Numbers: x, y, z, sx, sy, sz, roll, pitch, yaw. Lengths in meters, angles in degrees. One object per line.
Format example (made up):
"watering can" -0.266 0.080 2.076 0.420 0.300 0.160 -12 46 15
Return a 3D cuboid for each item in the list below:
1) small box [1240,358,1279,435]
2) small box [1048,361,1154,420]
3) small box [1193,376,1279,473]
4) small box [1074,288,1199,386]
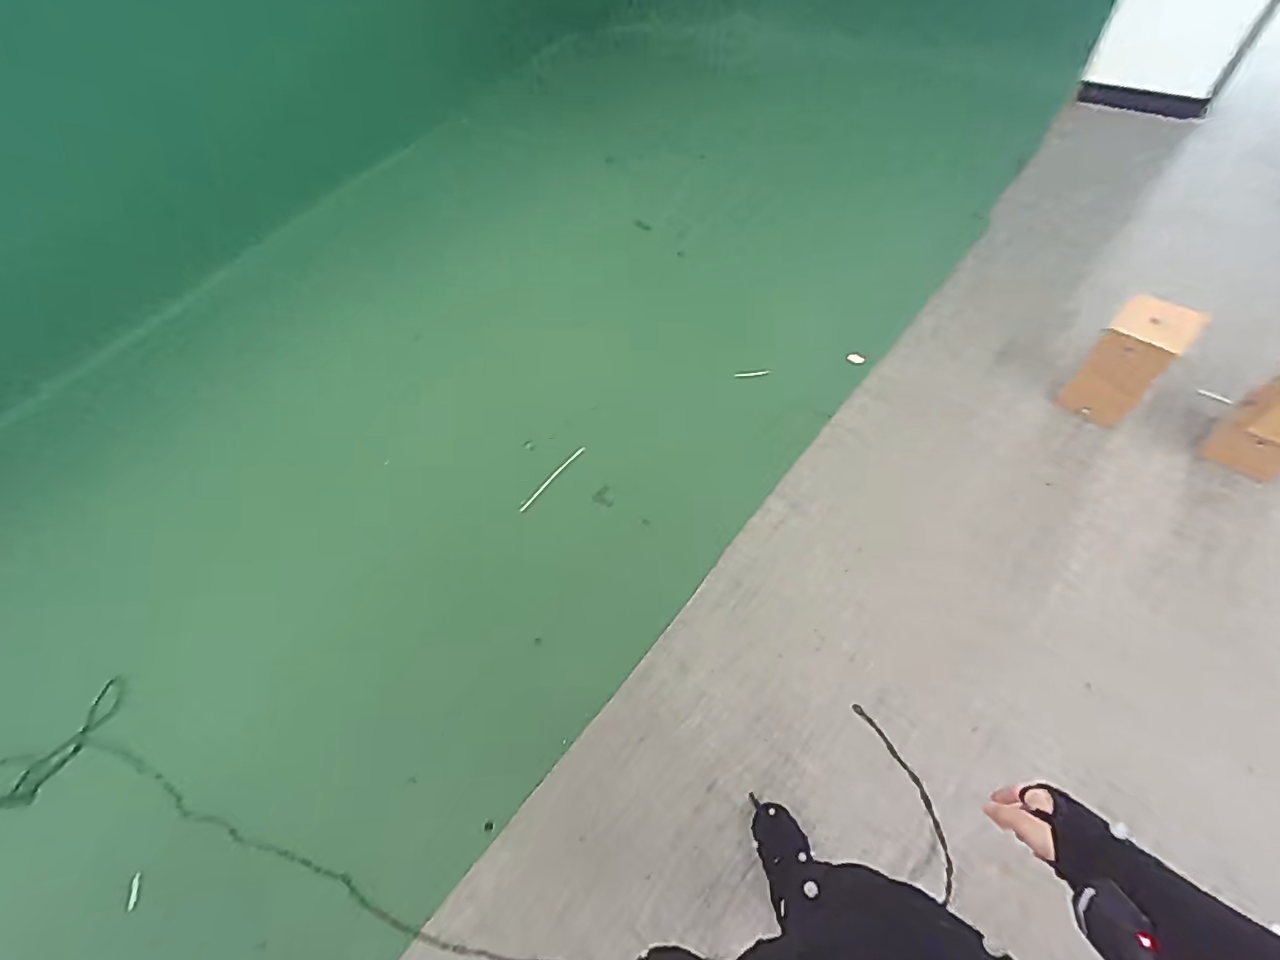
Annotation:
"small box" 1.677 -0.215 1.352 0.168 0.176 0.179 31 70 25
"small box" 1.411 -0.310 1.653 0.179 0.176 0.168 37 73 27
"small box" 1.711 -0.149 1.497 0.179 0.176 0.168 35 73 26
"small box" 1.377 -0.395 1.515 0.179 0.176 0.168 38 74 27
